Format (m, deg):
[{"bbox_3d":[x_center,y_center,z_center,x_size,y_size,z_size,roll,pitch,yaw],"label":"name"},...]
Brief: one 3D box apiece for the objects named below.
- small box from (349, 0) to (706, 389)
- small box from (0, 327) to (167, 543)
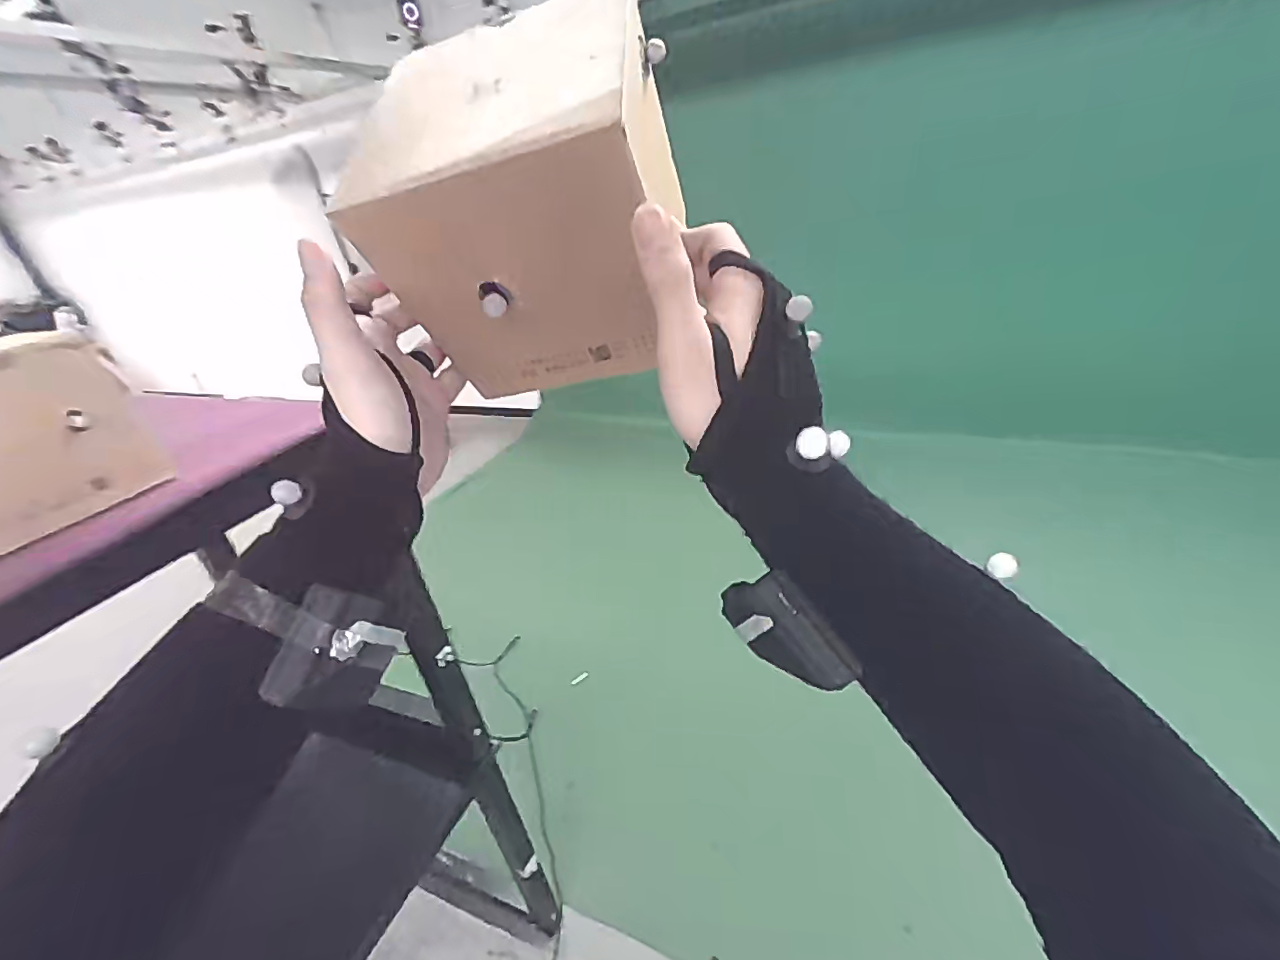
[{"bbox_3d":[-0.052,-0.180,0.371,0.168,0.176,0.179,-8,58,15],"label":"small box"},{"bbox_3d":[-0.630,-0.043,0.533,0.179,0.176,0.168,7,32,28],"label":"small box"}]
